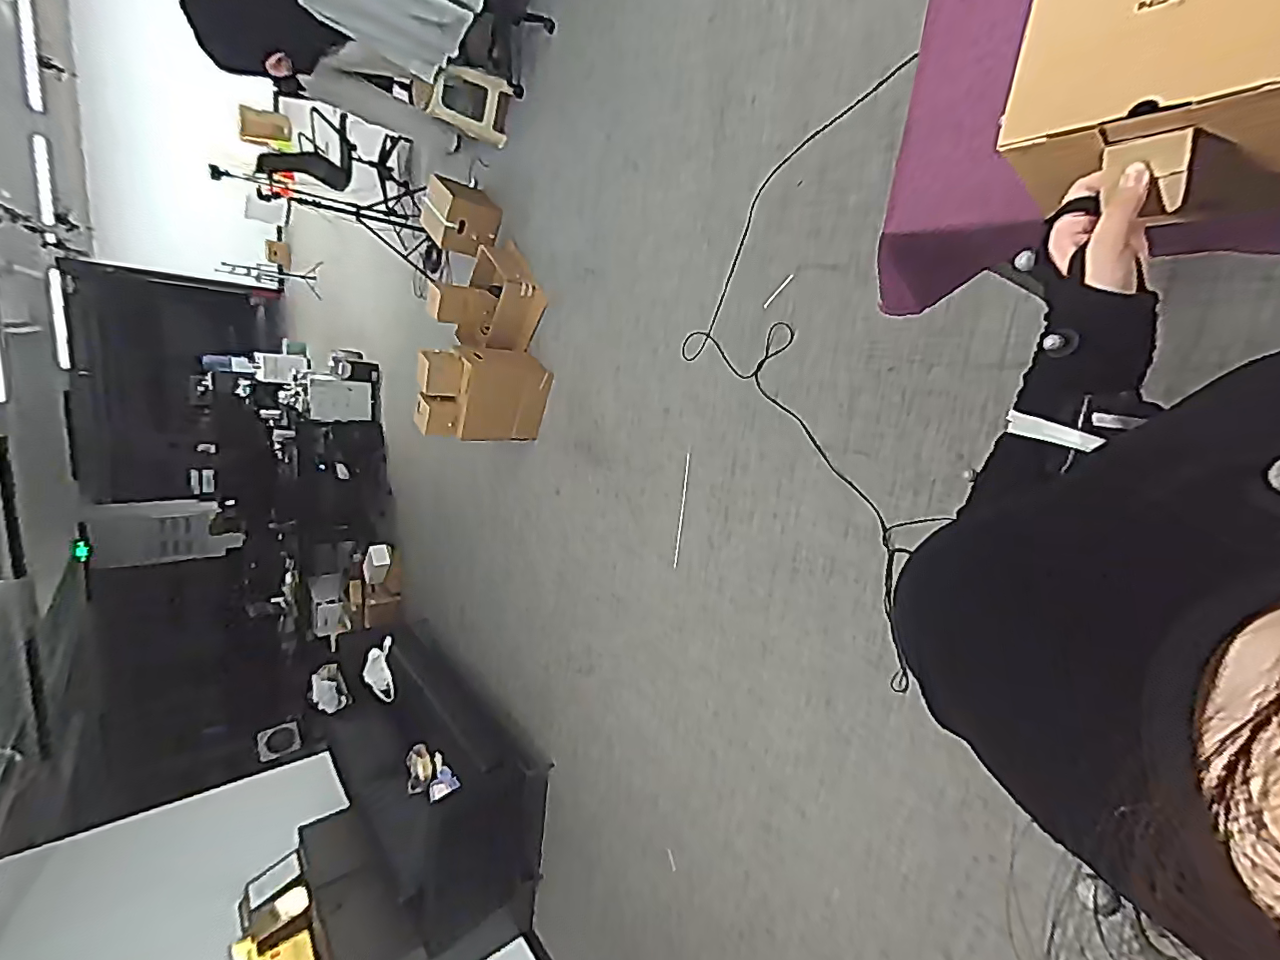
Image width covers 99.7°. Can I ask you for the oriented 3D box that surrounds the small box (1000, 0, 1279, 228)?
[{"bbox_3d":[0.405,-0.316,0.402,0.168,0.176,0.179,18,100,49],"label":"small box"}]
